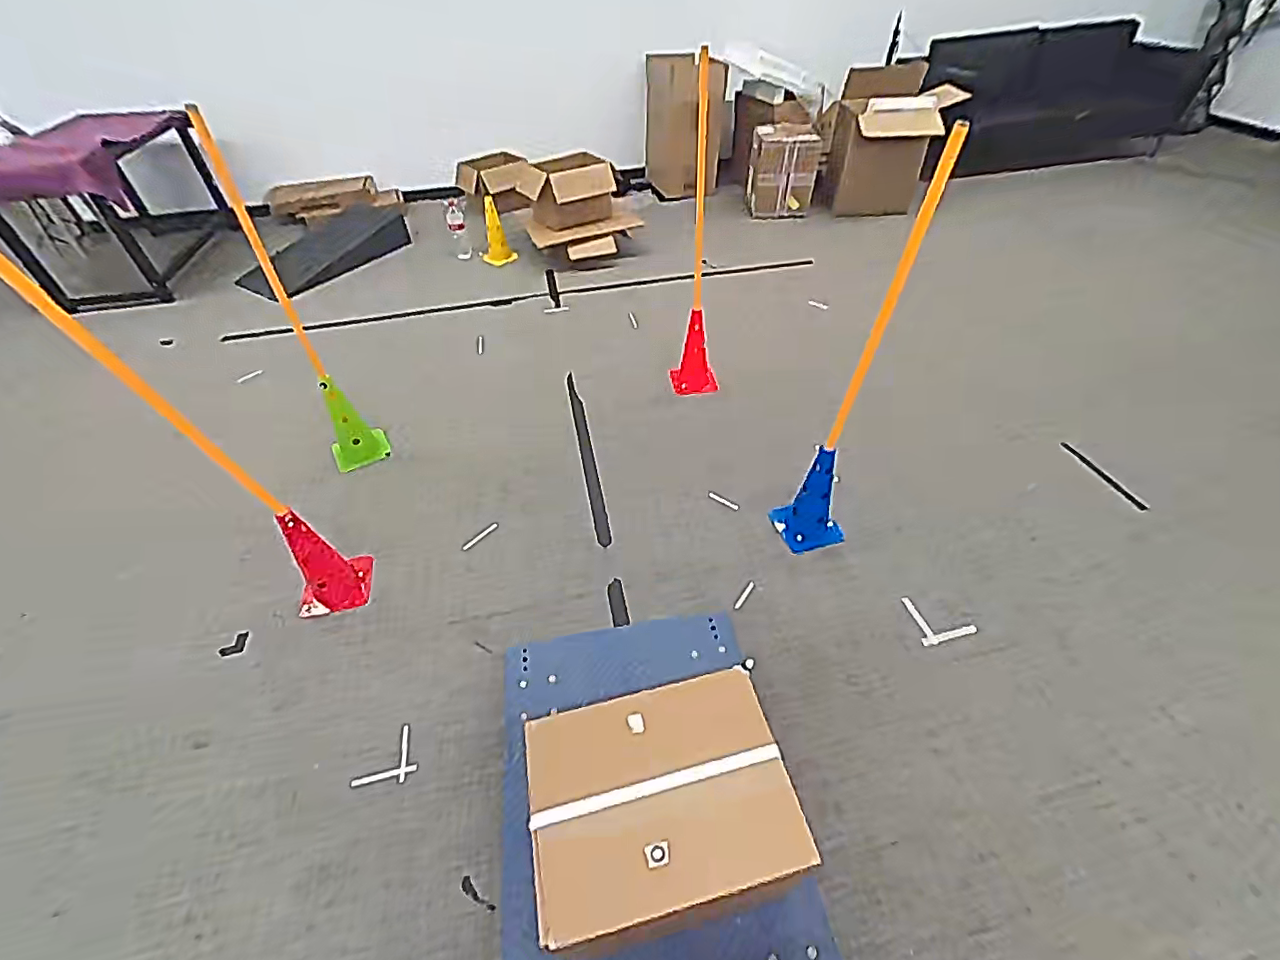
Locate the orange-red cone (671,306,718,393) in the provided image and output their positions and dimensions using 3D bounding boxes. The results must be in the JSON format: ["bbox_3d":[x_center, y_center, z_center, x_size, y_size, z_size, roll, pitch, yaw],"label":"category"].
[{"bbox_3d":[0.243,-0.578,2.334,0.199,0.360,0.198,-4,46,-4],"label":"orange-red cone"}]

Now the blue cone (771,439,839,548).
[{"bbox_3d":[0.561,0.031,1.736,0.193,0.380,0.192,-13,45,-11],"label":"blue cone"}]
